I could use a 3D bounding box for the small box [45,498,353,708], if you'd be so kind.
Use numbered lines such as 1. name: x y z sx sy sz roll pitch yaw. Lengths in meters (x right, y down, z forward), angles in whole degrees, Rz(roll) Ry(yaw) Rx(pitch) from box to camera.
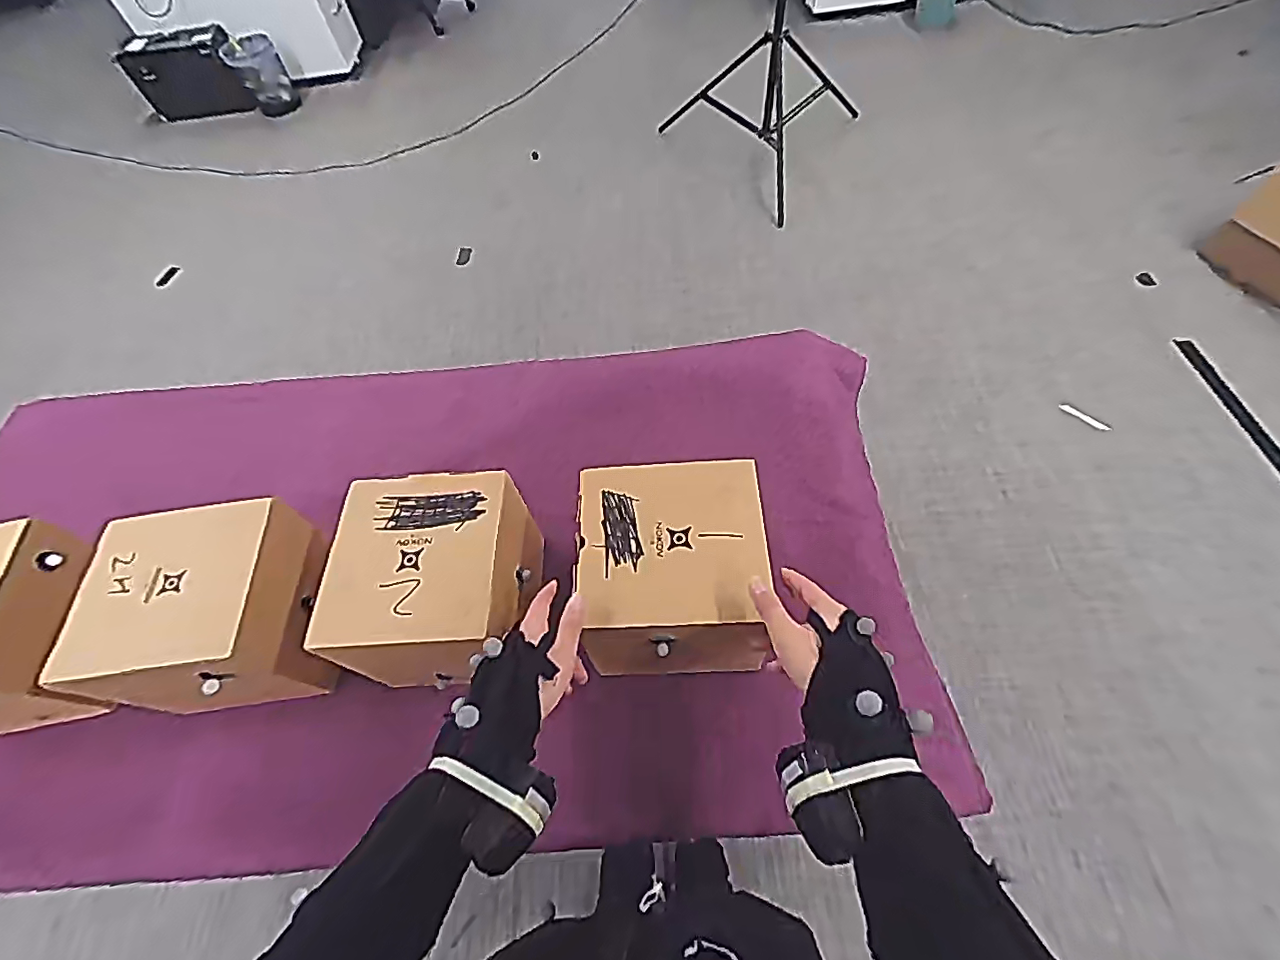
1. small box: -0.444 0.139 0.587 0.179 0.176 0.168 -9 58 0

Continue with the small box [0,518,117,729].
1. small box: -0.699 0.168 0.597 0.168 0.176 0.179 -11 58 -1

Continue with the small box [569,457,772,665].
1. small box: 0.032 0.092 0.566 0.179 0.176 0.168 -2 58 3
